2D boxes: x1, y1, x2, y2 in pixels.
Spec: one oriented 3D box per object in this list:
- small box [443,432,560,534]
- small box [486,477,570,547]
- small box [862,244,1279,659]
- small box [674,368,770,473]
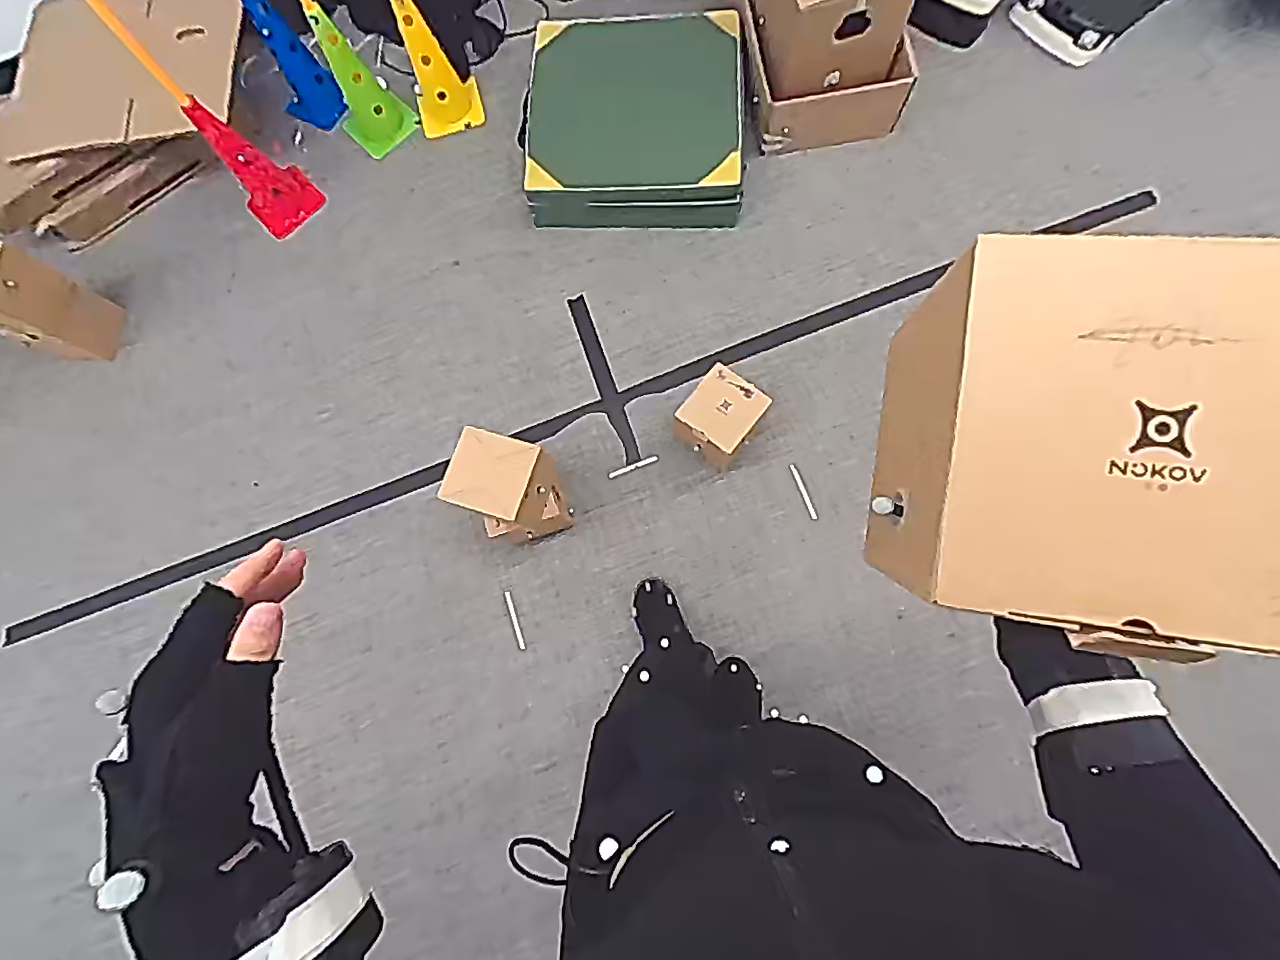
[{"bbox_3d":[-0.300,0.011,1.194,0.179,0.176,0.168,16,78,9],"label":"small box"},{"bbox_3d":[-0.283,0.061,1.354,0.179,0.176,0.168,-18,75,1],"label":"small box"},{"bbox_3d":[0.240,-0.017,0.321,0.168,0.176,0.179,7,90,11],"label":"small box"},{"bbox_3d":[0.202,-0.142,1.365,0.168,0.176,0.179,39,83,10],"label":"small box"}]
